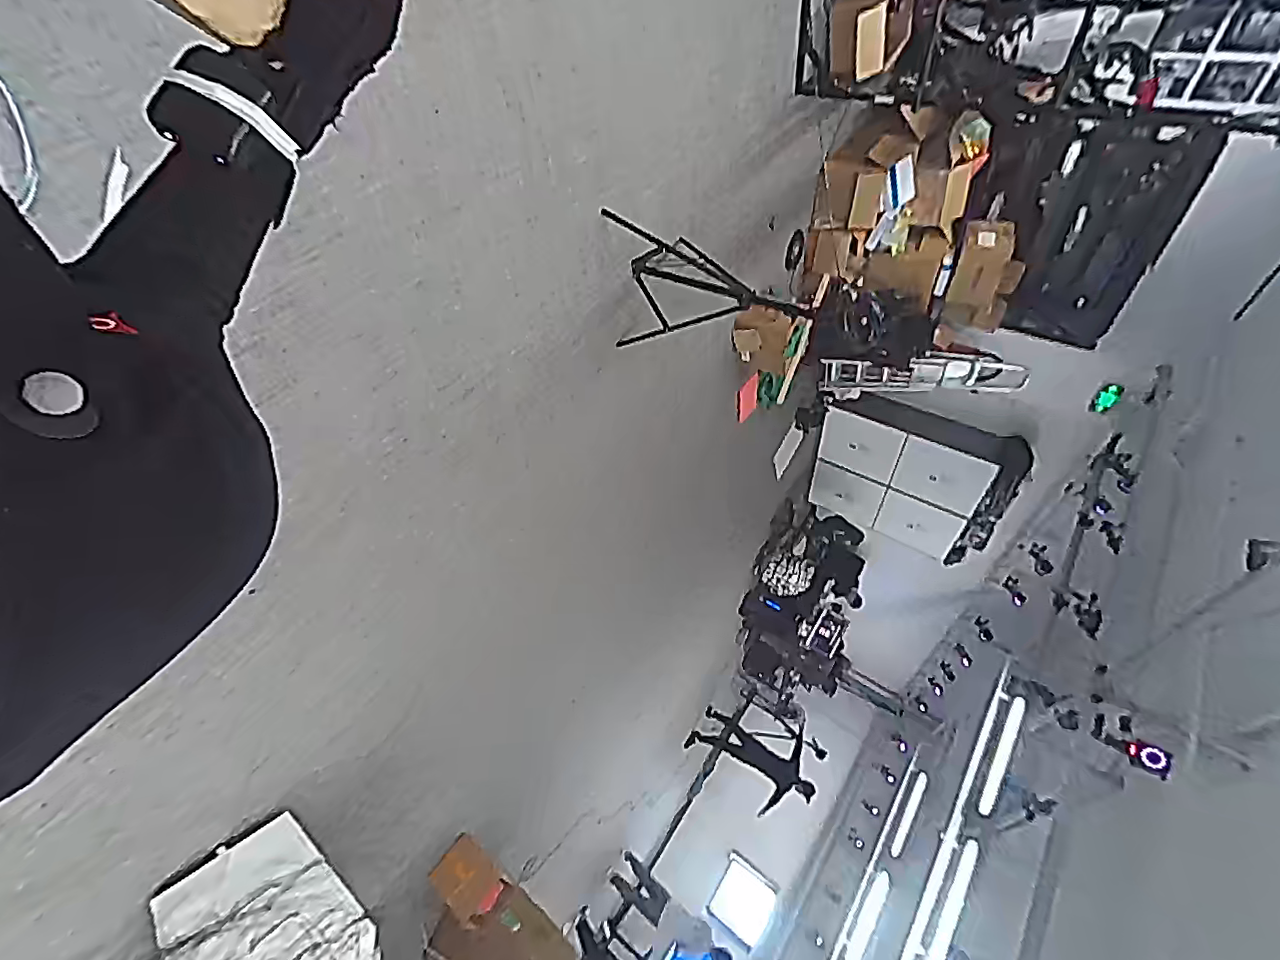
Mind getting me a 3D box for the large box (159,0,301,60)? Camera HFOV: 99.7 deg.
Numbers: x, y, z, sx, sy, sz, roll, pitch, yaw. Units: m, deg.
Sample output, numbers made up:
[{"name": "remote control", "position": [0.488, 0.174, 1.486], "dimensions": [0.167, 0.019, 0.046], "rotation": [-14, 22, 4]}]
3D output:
[{"name": "large box", "position": [-0.391, -0.559, 0.286], "dimensions": [0.320, 0.320, 0.408], "rotation": [-53, 155, 7]}]
